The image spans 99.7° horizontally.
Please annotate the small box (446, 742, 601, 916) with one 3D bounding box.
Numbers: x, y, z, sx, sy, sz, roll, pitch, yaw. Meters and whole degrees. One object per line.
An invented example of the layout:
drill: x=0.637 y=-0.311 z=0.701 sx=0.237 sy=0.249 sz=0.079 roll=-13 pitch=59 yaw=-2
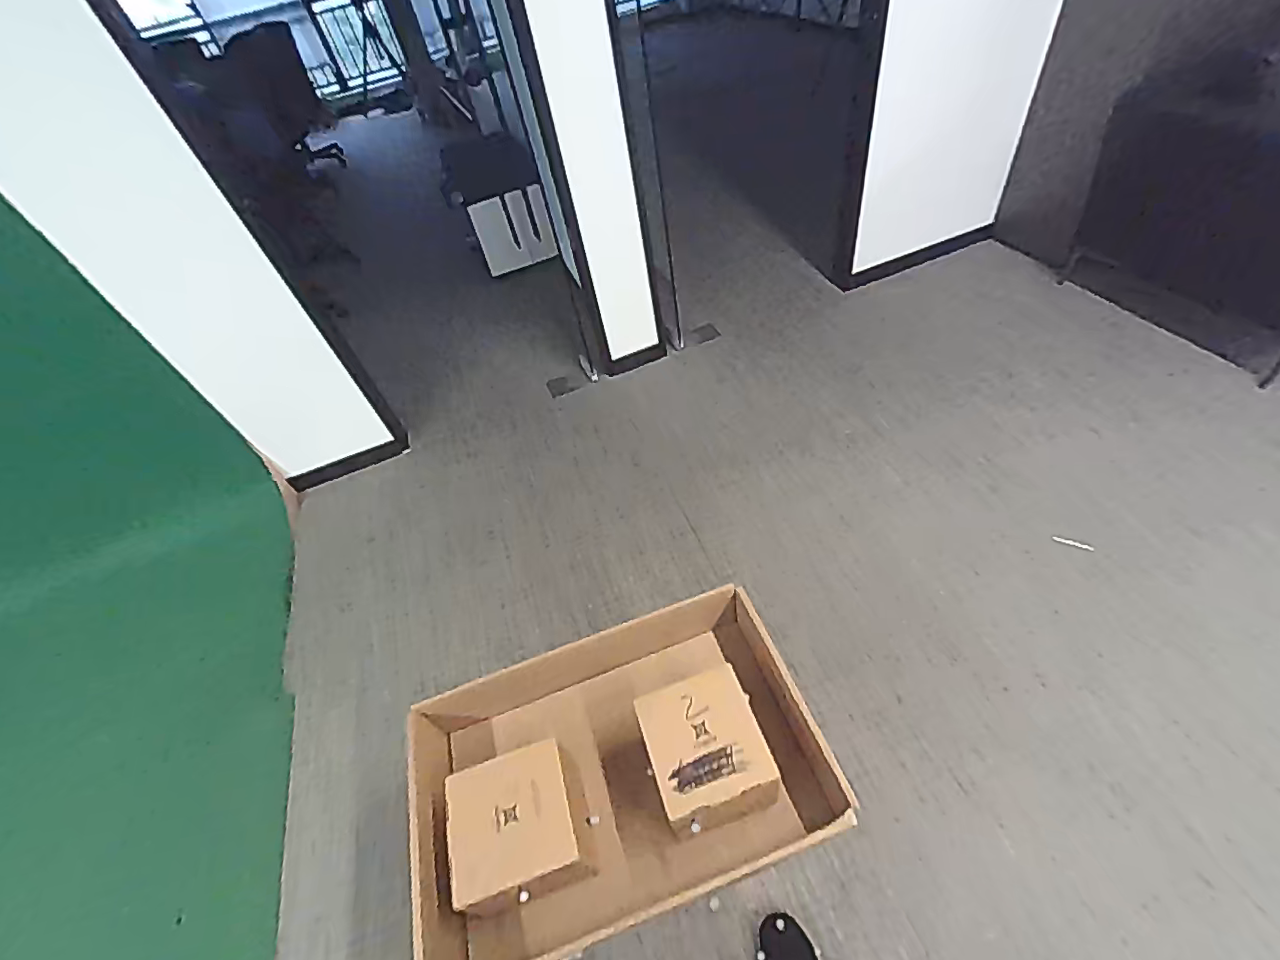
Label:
small box: x=-0.173 y=0.531 z=0.818 sx=0.179 sy=0.176 sz=0.168 roll=-18 pitch=48 yaw=-5
